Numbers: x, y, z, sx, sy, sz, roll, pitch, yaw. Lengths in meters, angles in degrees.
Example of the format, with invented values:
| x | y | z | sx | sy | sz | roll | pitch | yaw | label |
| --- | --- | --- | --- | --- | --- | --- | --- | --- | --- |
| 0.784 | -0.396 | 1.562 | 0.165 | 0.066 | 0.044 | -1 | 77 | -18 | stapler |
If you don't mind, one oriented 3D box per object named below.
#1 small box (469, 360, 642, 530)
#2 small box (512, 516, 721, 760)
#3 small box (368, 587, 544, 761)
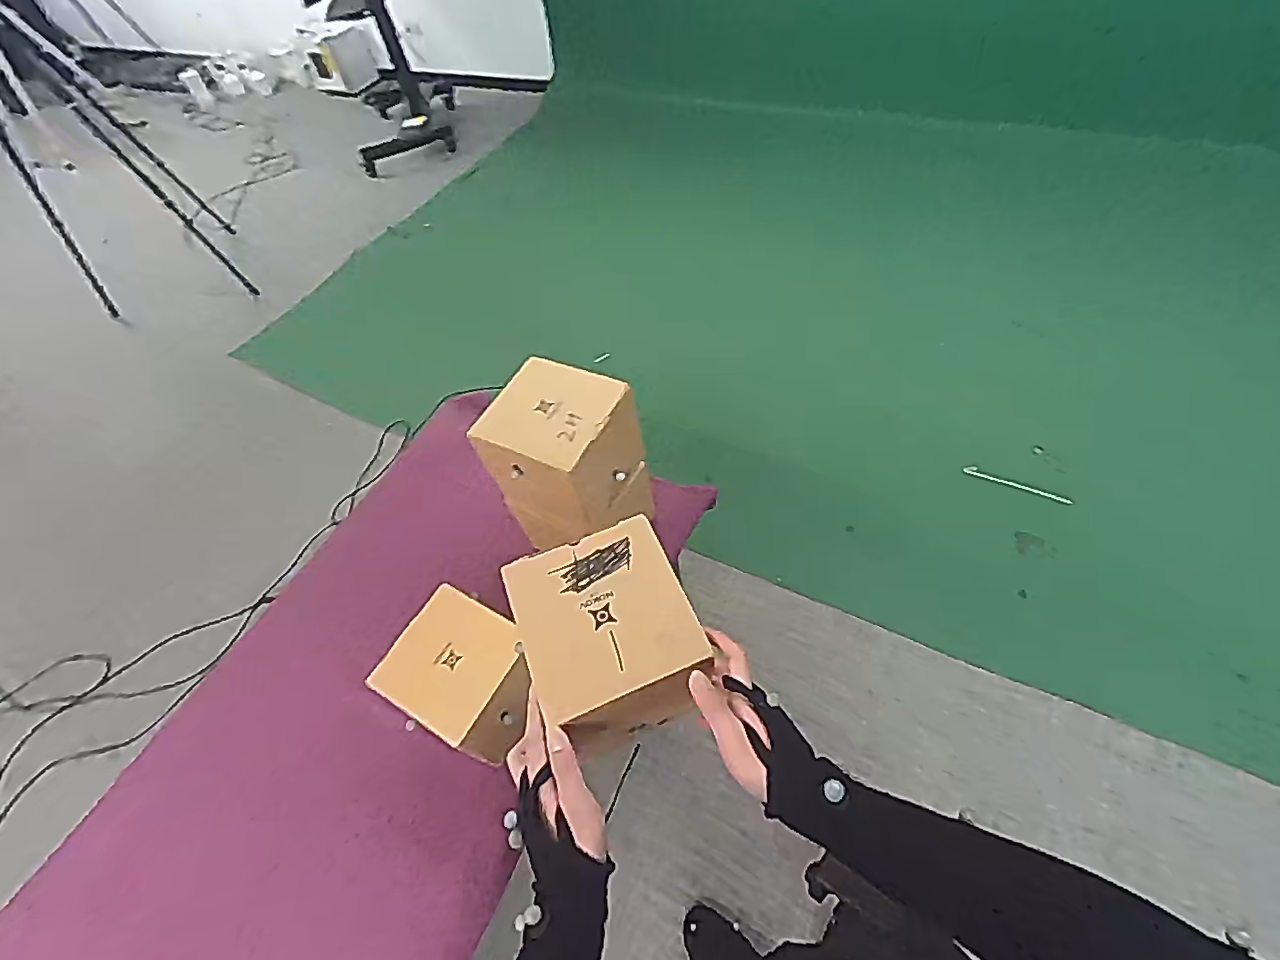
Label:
| x | y | z | sx | sy | sz | roll | pitch | yaw | label |
| --- | --- | --- | --- | --- | --- | --- | --- | --- | --- |
| -0.115 | -0.049 | 0.816 | 0.179 | 0.176 | 0.168 | 21 | 62 | 21 | small box |
| -0.026 | 0.175 | 0.593 | 0.168 | 0.176 | 0.179 | -20 | 54 | -10 | small box |
| -0.248 | 0.293 | 0.803 | 0.179 | 0.176 | 0.168 | 21 | 61 | 23 | small box |
